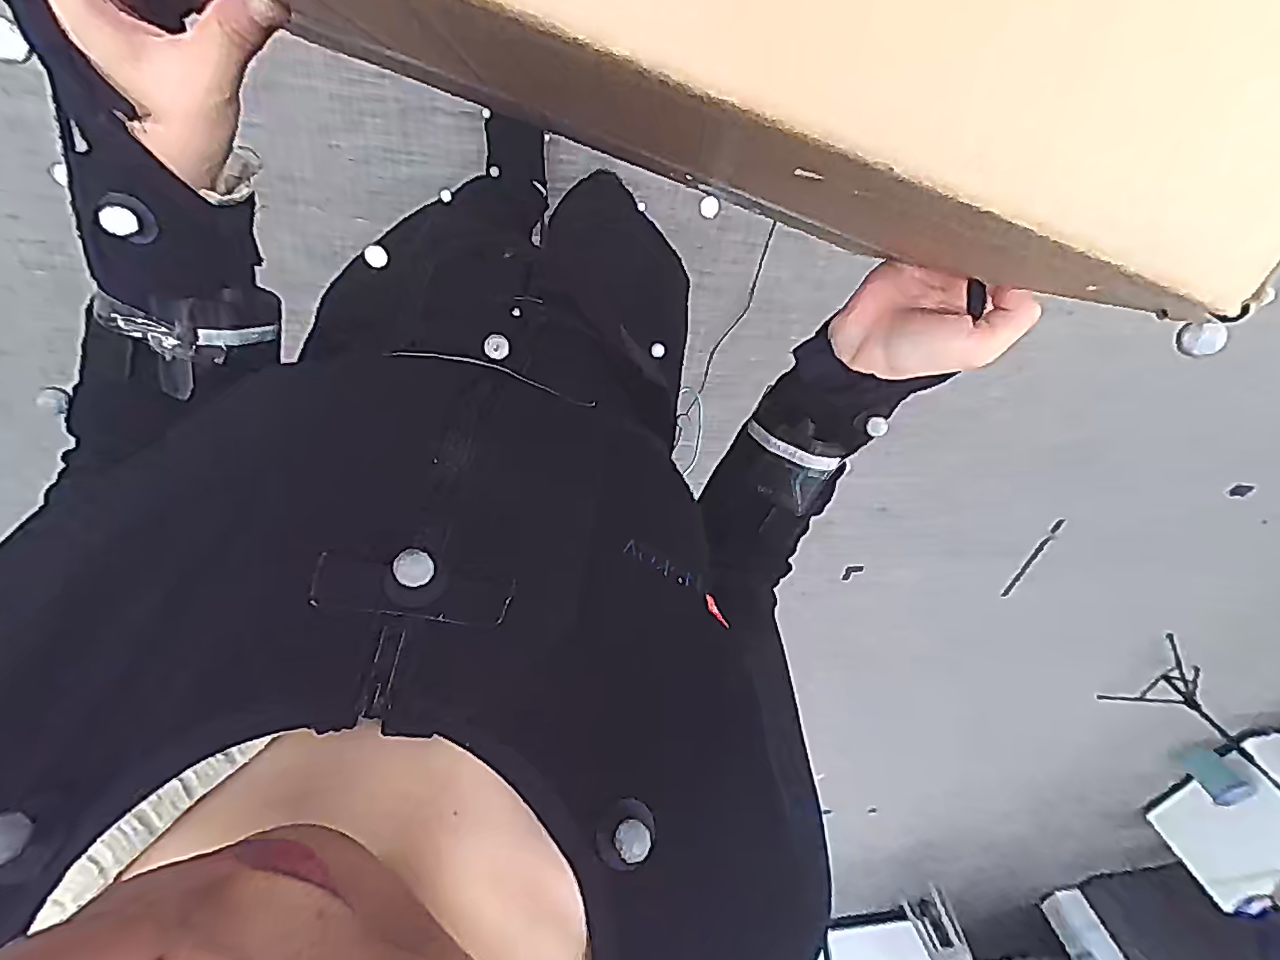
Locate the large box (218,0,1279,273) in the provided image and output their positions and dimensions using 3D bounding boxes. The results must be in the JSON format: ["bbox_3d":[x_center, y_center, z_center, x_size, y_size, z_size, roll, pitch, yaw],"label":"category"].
[{"bbox_3d":[0.021,-0.305,0.191,0.408,0.320,0.320,14,117,-9],"label":"large box"}]
